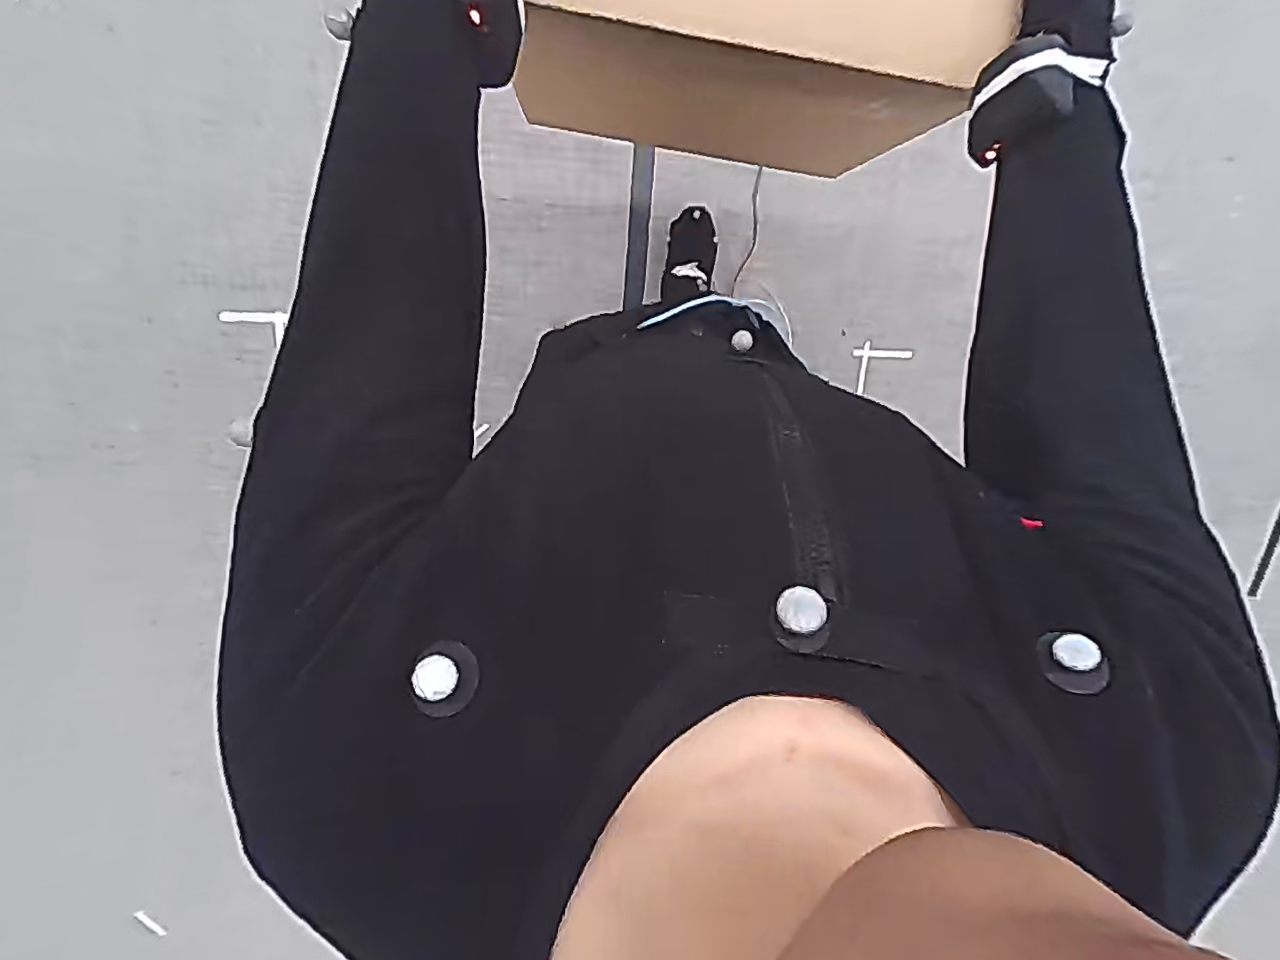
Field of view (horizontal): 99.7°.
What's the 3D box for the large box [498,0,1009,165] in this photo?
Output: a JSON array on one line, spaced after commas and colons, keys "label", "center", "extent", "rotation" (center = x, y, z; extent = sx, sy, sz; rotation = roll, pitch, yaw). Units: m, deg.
[{"label": "large box", "center": [0.089, -0.528, 0.509], "extent": [0.408, 0.320, 0.320], "rotation": [5, 109, -7]}]
